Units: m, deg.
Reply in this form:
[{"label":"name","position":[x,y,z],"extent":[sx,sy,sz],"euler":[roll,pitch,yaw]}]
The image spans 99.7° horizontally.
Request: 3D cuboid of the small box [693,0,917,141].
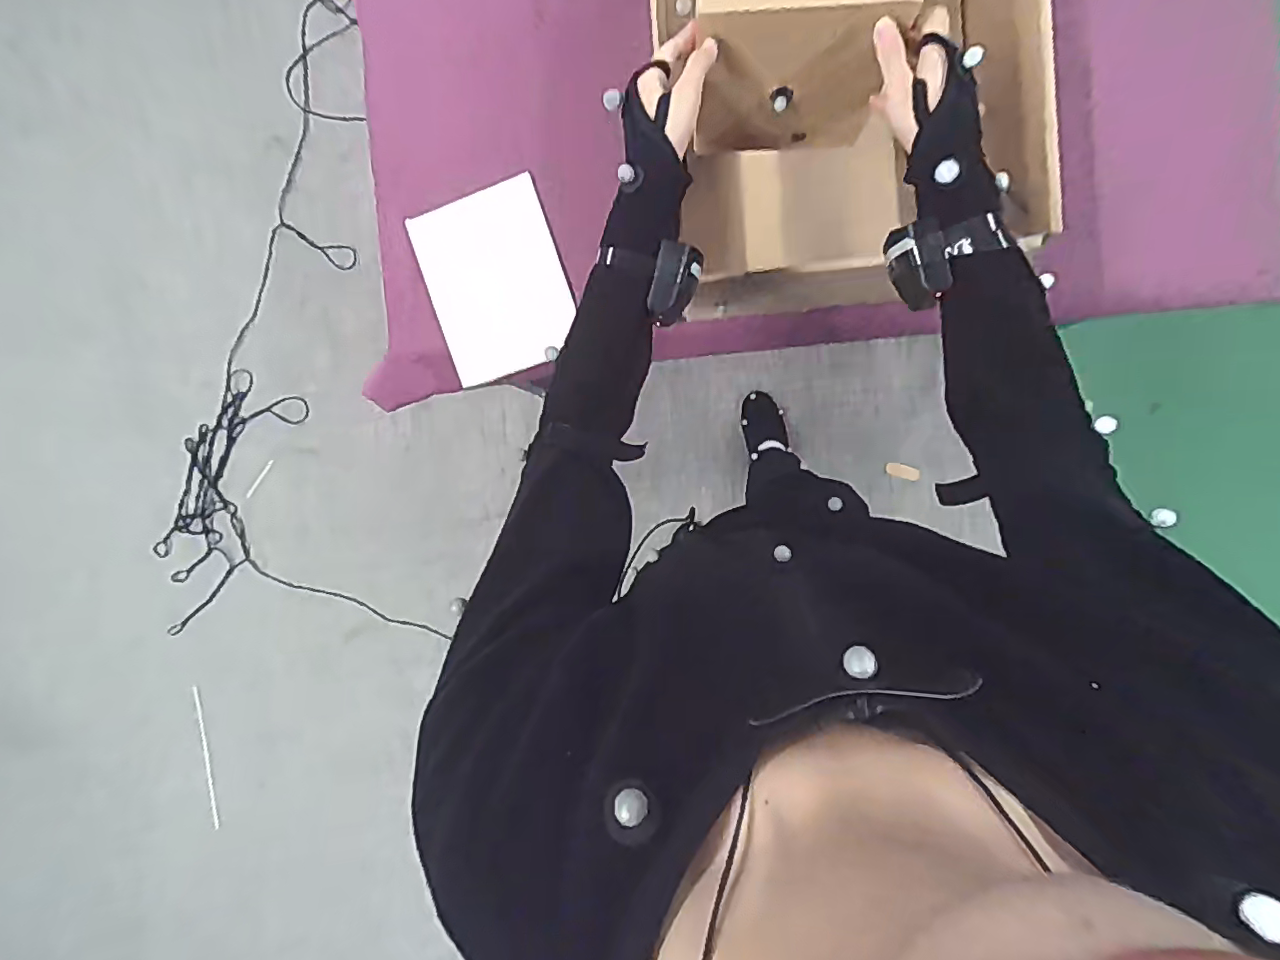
[{"label":"small box","position":[0.132,-0.428,0.474],"extent":[0.168,0.176,0.179],"euler":[1,88,5]}]
